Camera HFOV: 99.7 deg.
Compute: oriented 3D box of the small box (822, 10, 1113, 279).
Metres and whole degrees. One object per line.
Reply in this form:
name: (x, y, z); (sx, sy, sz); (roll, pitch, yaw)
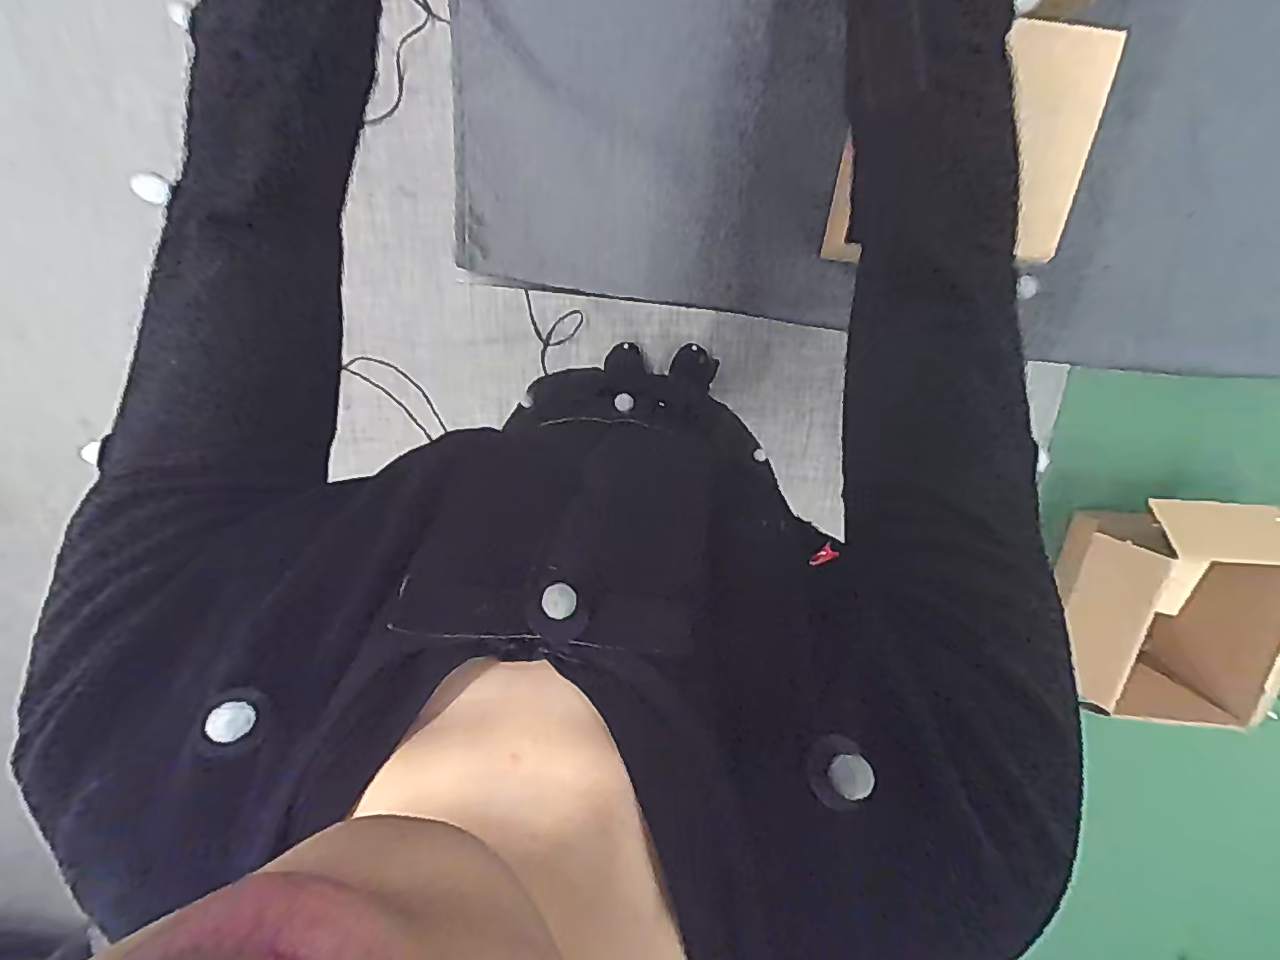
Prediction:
small box: (0.296, -0.309, 0.538); (0.168, 0.176, 0.179); (9, 107, 1)
